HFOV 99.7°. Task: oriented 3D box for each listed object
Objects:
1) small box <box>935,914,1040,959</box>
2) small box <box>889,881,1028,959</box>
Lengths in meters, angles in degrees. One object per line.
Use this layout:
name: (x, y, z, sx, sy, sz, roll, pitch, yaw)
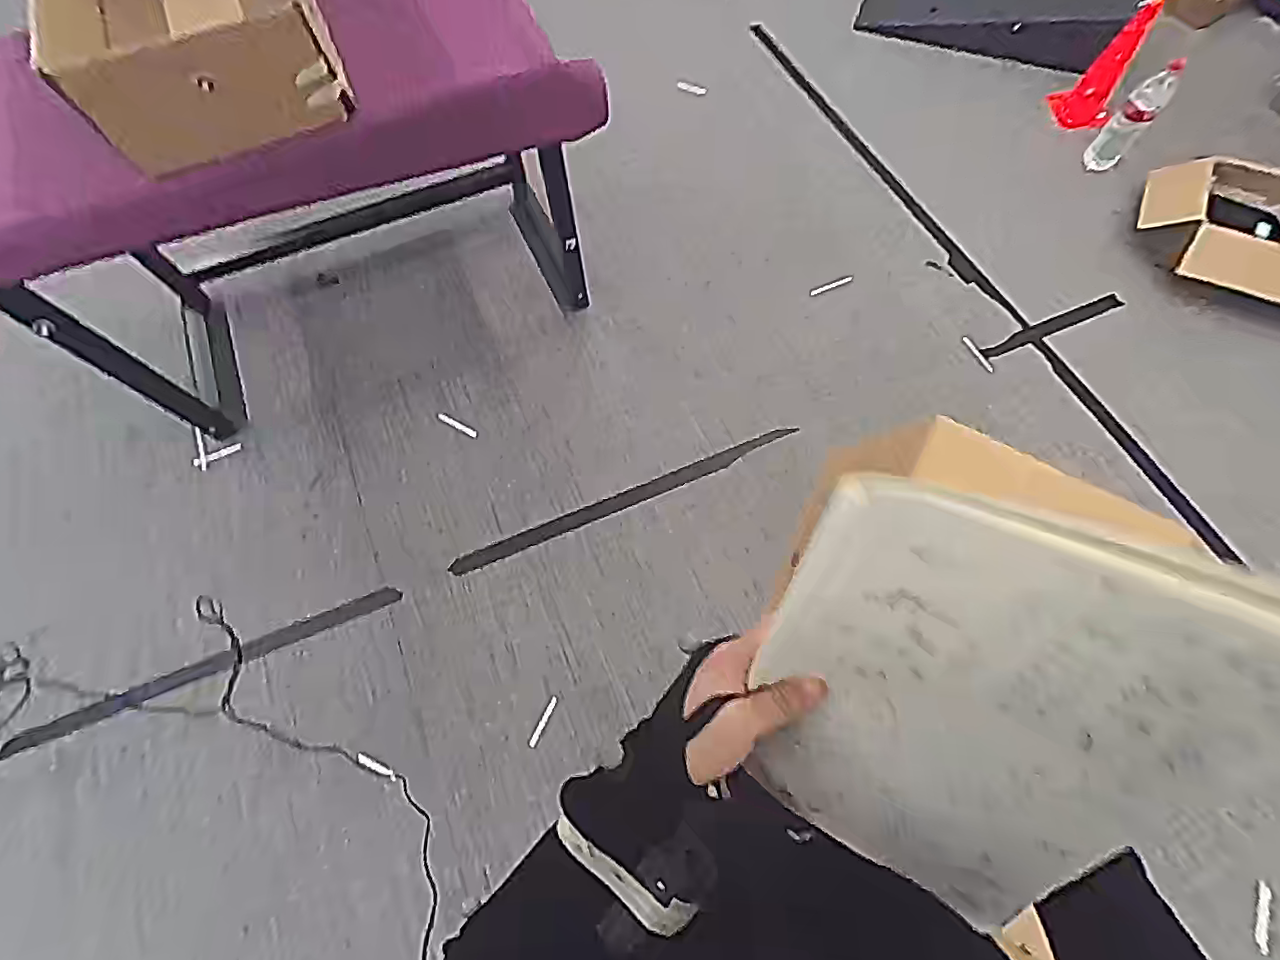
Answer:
small box: (0.600, 0.871, 0.889, 0.168, 0.176, 0.179, 20, 72, 10)
small box: (0.605, 0.929, 1.044, 0.168, 0.176, 0.179, 20, 72, 9)
